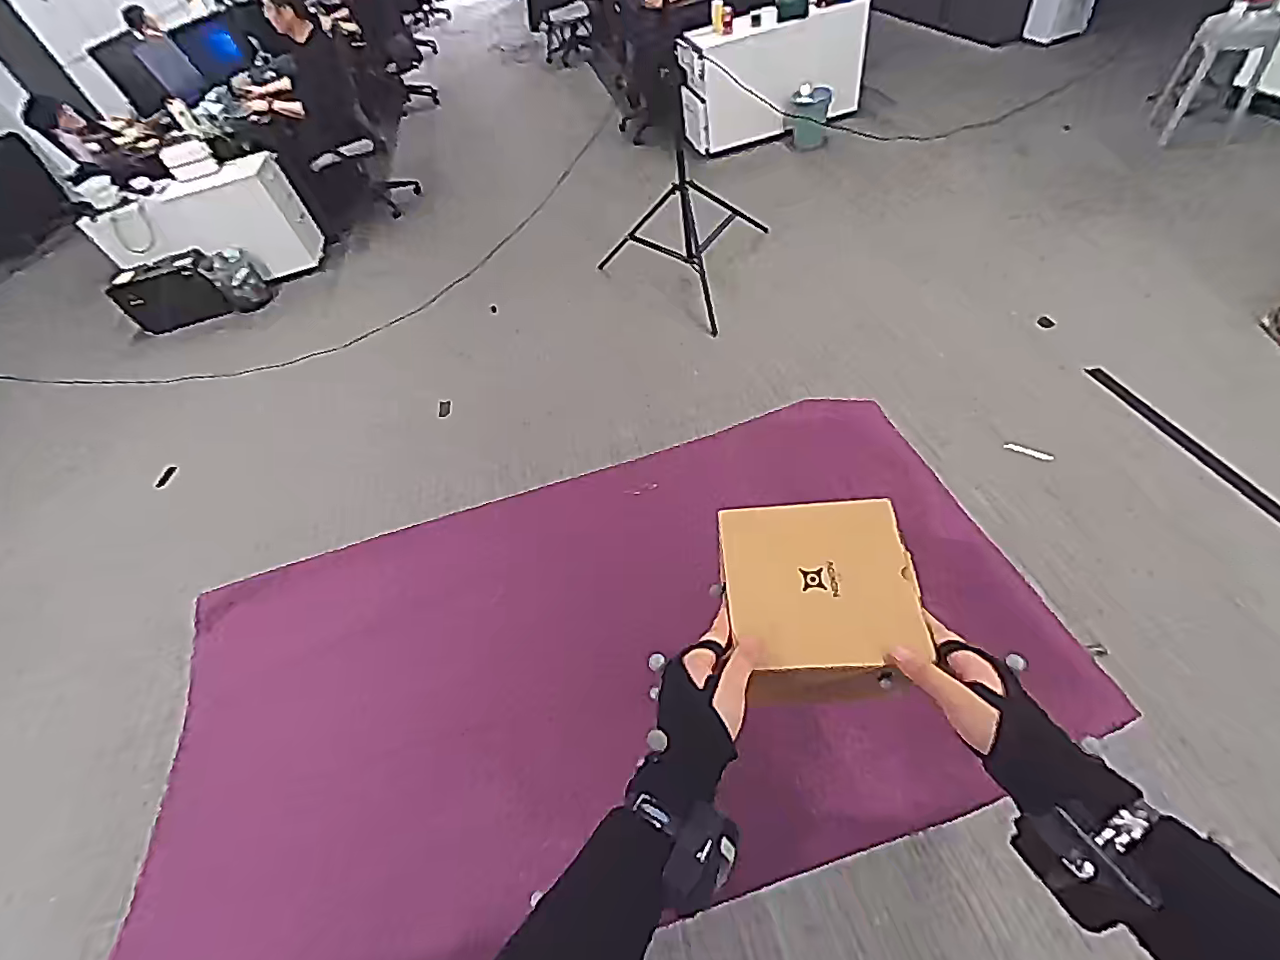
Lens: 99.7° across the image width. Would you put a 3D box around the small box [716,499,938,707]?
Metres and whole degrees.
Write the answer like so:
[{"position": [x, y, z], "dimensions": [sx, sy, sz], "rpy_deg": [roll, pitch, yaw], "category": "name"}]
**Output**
[{"position": [0.175, 0.137, 0.570], "dimensions": [0.179, 0.176, 0.168], "rpy_deg": [-4, 57, 5], "category": "small box"}]
